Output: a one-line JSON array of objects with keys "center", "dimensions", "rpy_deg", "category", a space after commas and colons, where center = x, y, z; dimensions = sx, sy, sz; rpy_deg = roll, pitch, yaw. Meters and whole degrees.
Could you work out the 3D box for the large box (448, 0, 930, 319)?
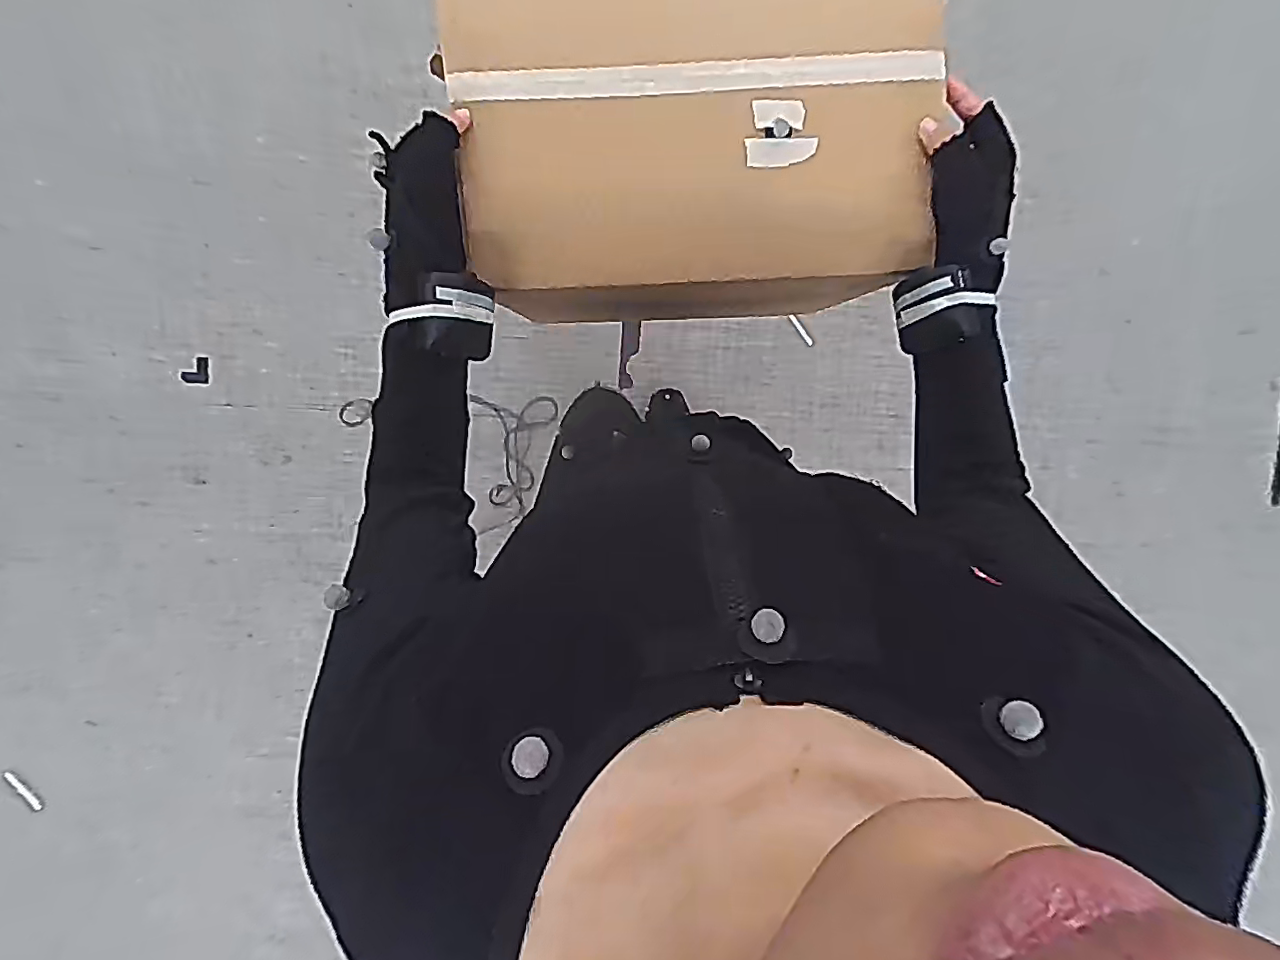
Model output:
[{"center": [0.040, -0.365, 0.602], "dimensions": [0.408, 0.320, 0.320], "rpy_deg": [-3, 102, -1], "category": "large box"}]
